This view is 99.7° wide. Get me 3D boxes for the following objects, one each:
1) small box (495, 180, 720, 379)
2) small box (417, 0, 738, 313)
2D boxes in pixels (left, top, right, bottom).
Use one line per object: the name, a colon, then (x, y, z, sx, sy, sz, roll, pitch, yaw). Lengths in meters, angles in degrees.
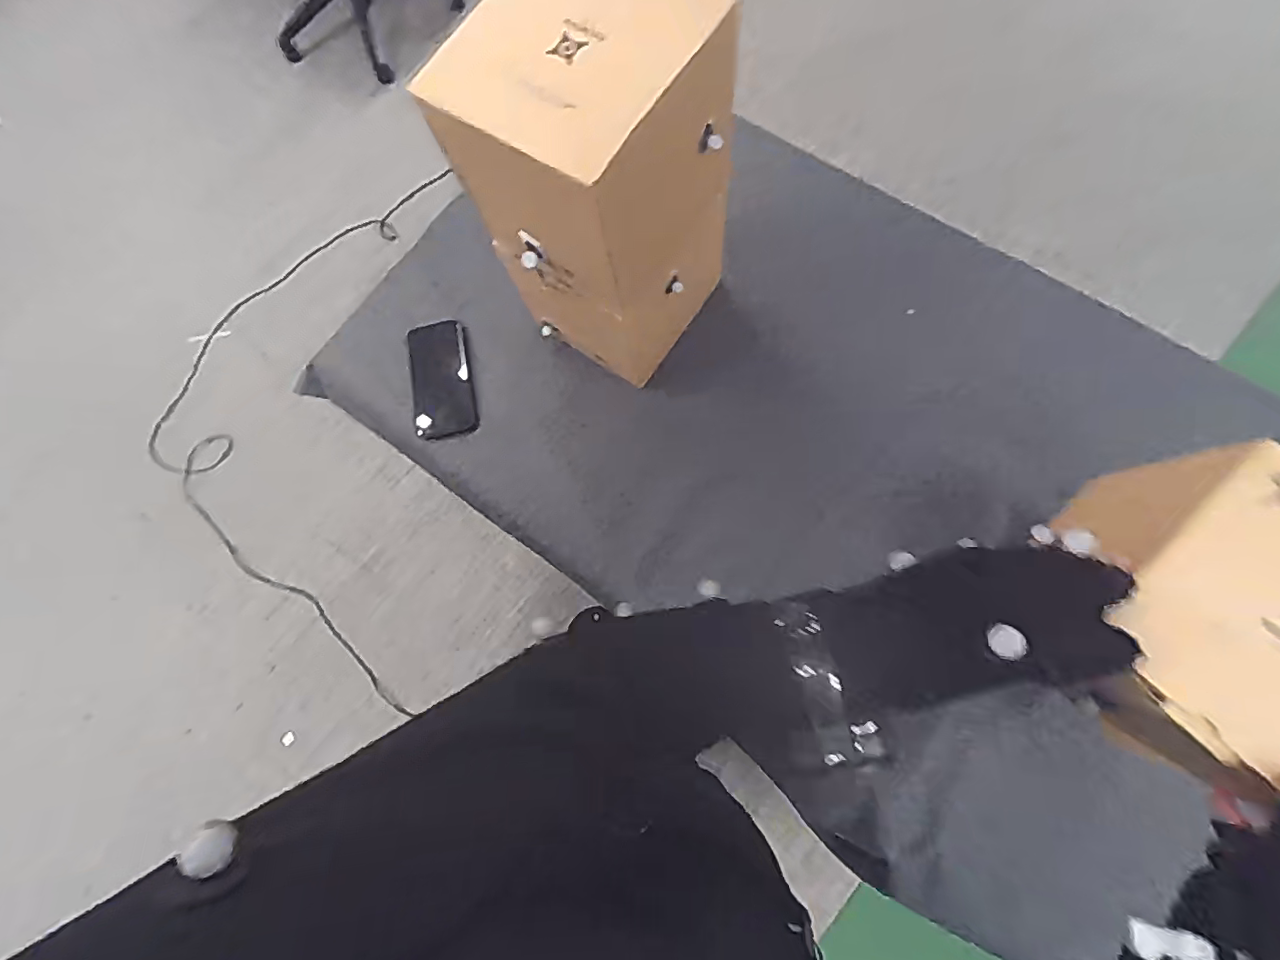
small box: (-0.025, -0.245, 0.611, 0.168, 0.176, 0.179, 34, 82, 12)
small box: (-0.038, -0.280, 0.454, 0.168, 0.176, 0.179, 33, 84, 12)
